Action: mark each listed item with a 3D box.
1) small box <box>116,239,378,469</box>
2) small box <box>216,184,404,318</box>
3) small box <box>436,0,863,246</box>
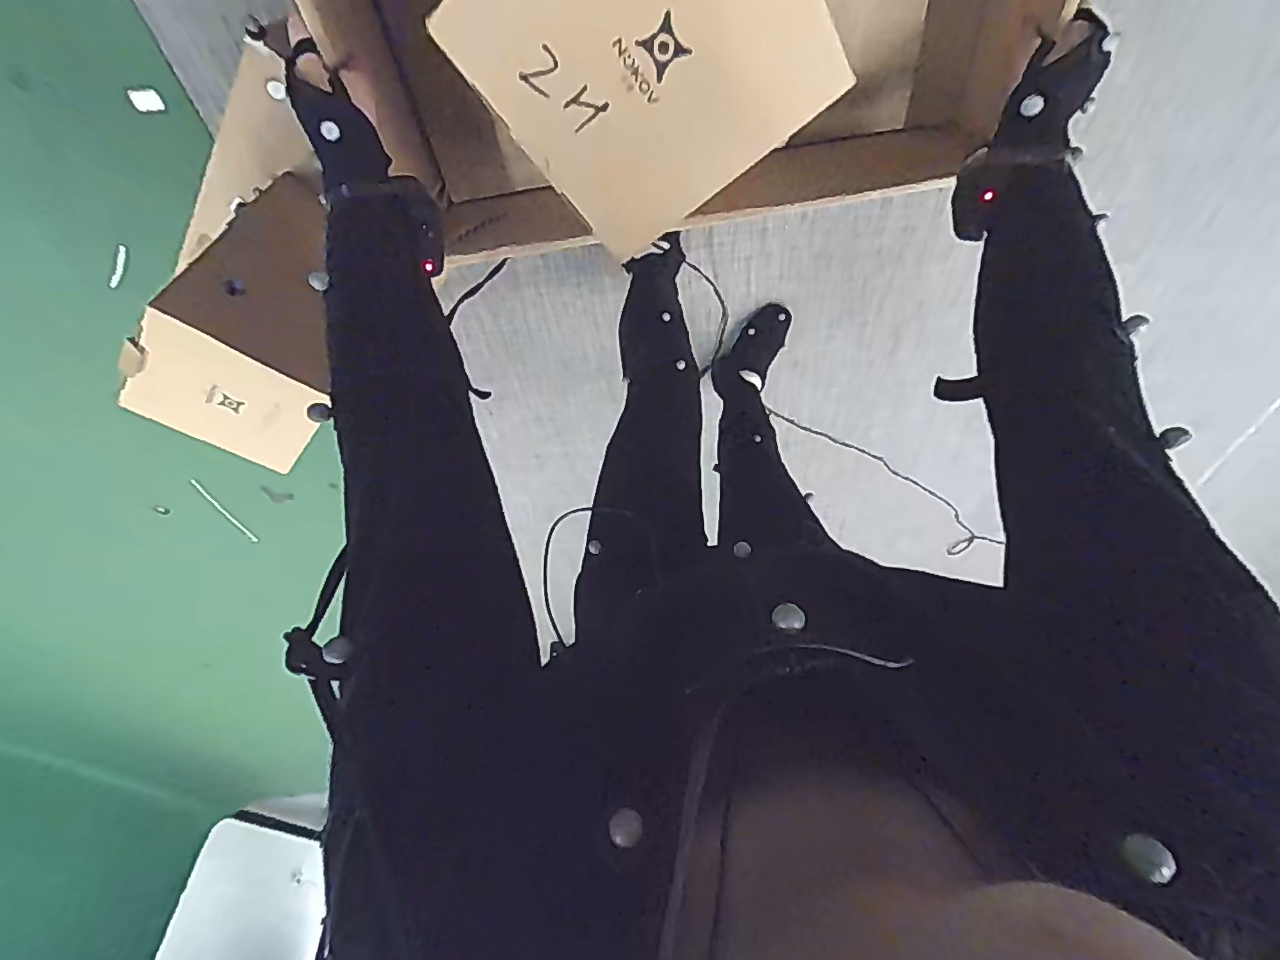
[{"bbox_3d":[-0.447,-0.151,0.636,0.179,0.176,0.168,32,128,-33],"label":"small box"},{"bbox_3d":[-0.461,-0.272,0.745,0.168,0.176,0.179,-33,131,29],"label":"small box"},{"bbox_3d":[0.005,-0.297,0.341,0.179,0.176,0.168,-28,131,25],"label":"small box"}]
